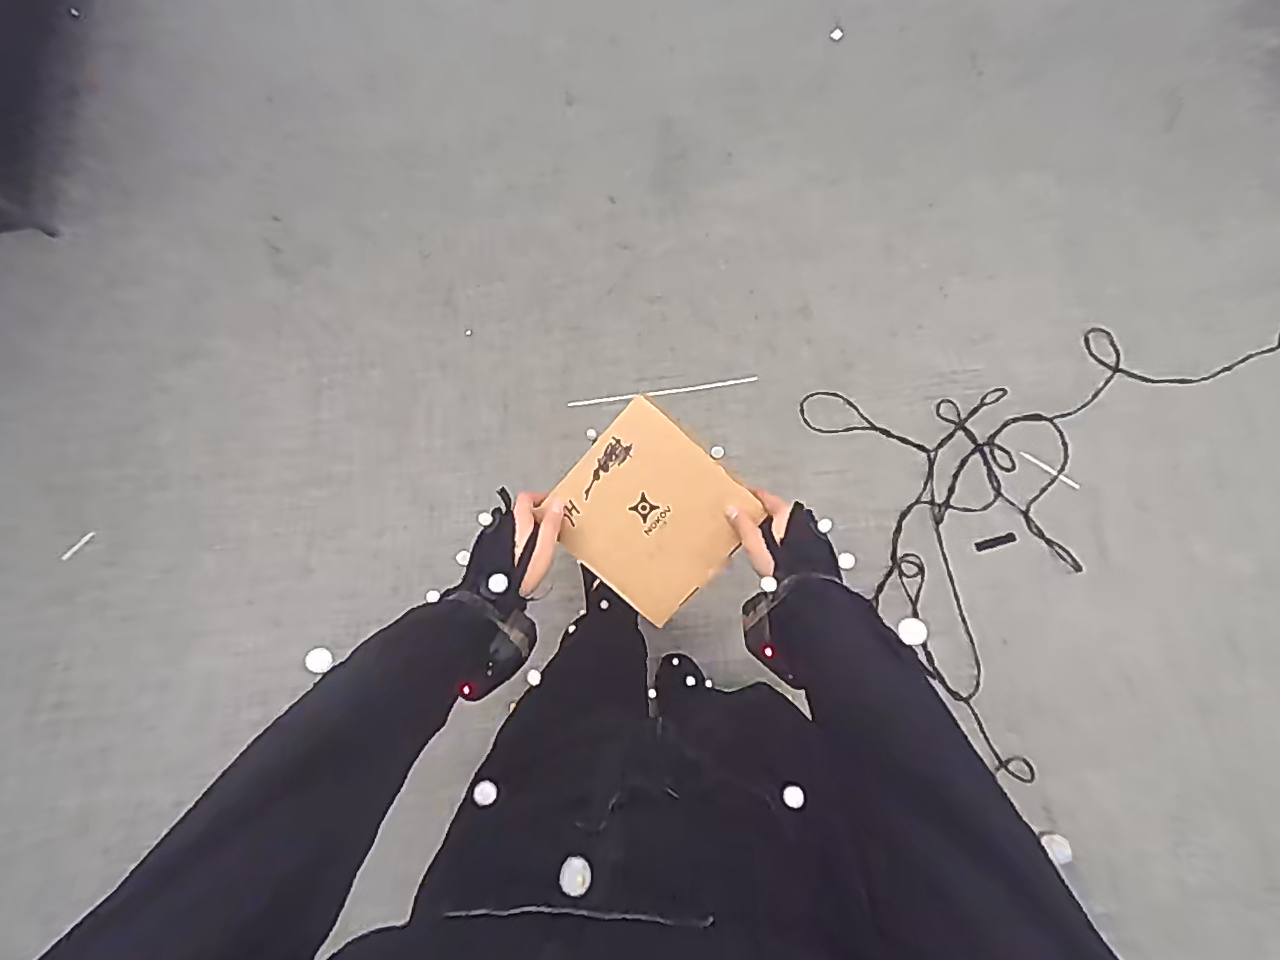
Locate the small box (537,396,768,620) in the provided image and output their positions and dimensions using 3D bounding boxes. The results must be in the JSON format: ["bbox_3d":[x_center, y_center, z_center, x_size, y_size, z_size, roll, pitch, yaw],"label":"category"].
[{"bbox_3d":[0.016,0.020,0.619,0.179,0.176,0.168,41,97,-2],"label":"small box"}]
